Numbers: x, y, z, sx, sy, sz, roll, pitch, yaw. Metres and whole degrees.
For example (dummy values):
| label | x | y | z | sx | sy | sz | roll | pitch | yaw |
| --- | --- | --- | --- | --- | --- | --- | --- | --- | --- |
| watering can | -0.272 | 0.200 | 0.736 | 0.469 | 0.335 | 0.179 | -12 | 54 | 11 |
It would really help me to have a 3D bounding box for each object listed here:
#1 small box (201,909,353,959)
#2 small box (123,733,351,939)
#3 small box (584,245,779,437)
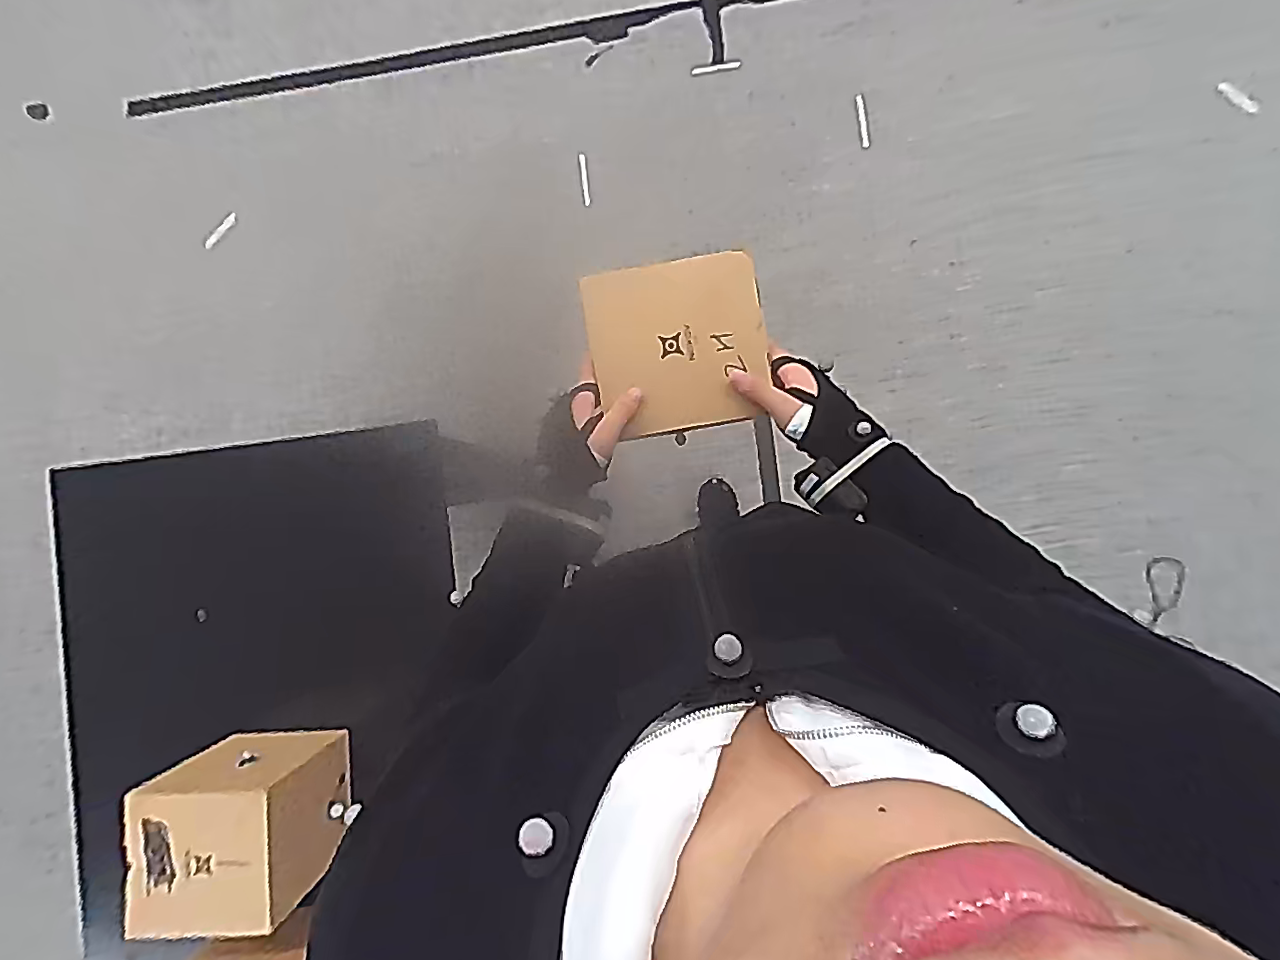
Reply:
| label | x | y | z | sx | sy | sz | roll | pitch | yaw |
| --- | --- | --- | --- | --- | --- | --- | --- | --- | --- |
| small box | -0.490 | 0.695 | 0.693 | 0.179 | 0.176 | 0.168 | -8 | 87 | 3 |
| small box | -0.508 | 0.446 | 0.702 | 0.179 | 0.176 | 0.168 | -3 | 87 | 1 |
| small box | 0.043 | -0.143 | 0.616 | 0.179 | 0.176 | 0.168 | -10 | 94 | 0 |
